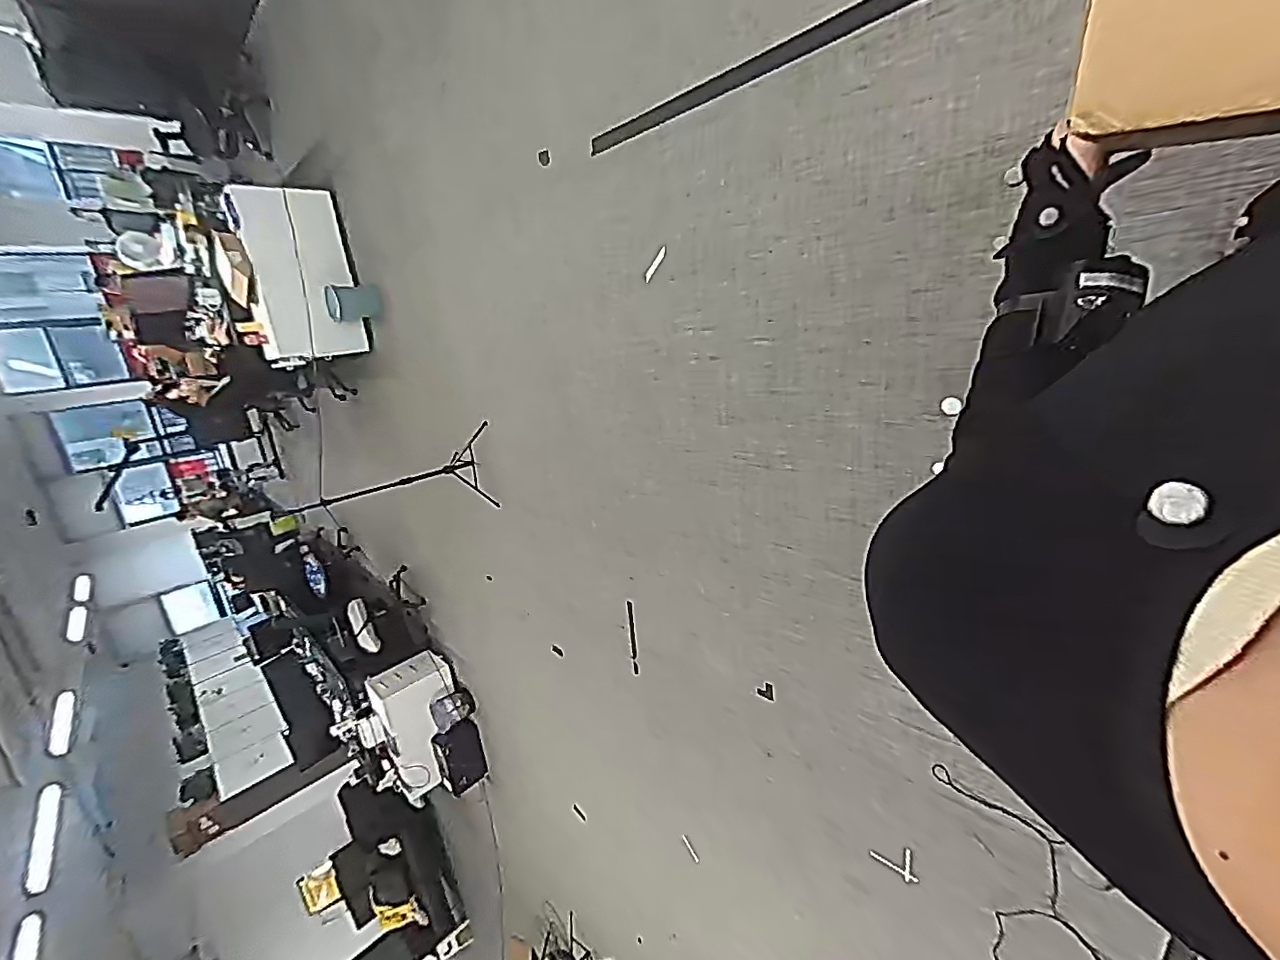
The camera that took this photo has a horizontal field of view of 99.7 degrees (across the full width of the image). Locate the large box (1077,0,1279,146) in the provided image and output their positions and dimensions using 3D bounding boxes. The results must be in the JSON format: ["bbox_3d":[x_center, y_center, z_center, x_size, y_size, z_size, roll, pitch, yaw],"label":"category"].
[{"bbox_3d":[0.422,-0.318,0.161,0.408,0.320,0.320,15,123,37],"label":"large box"}]
